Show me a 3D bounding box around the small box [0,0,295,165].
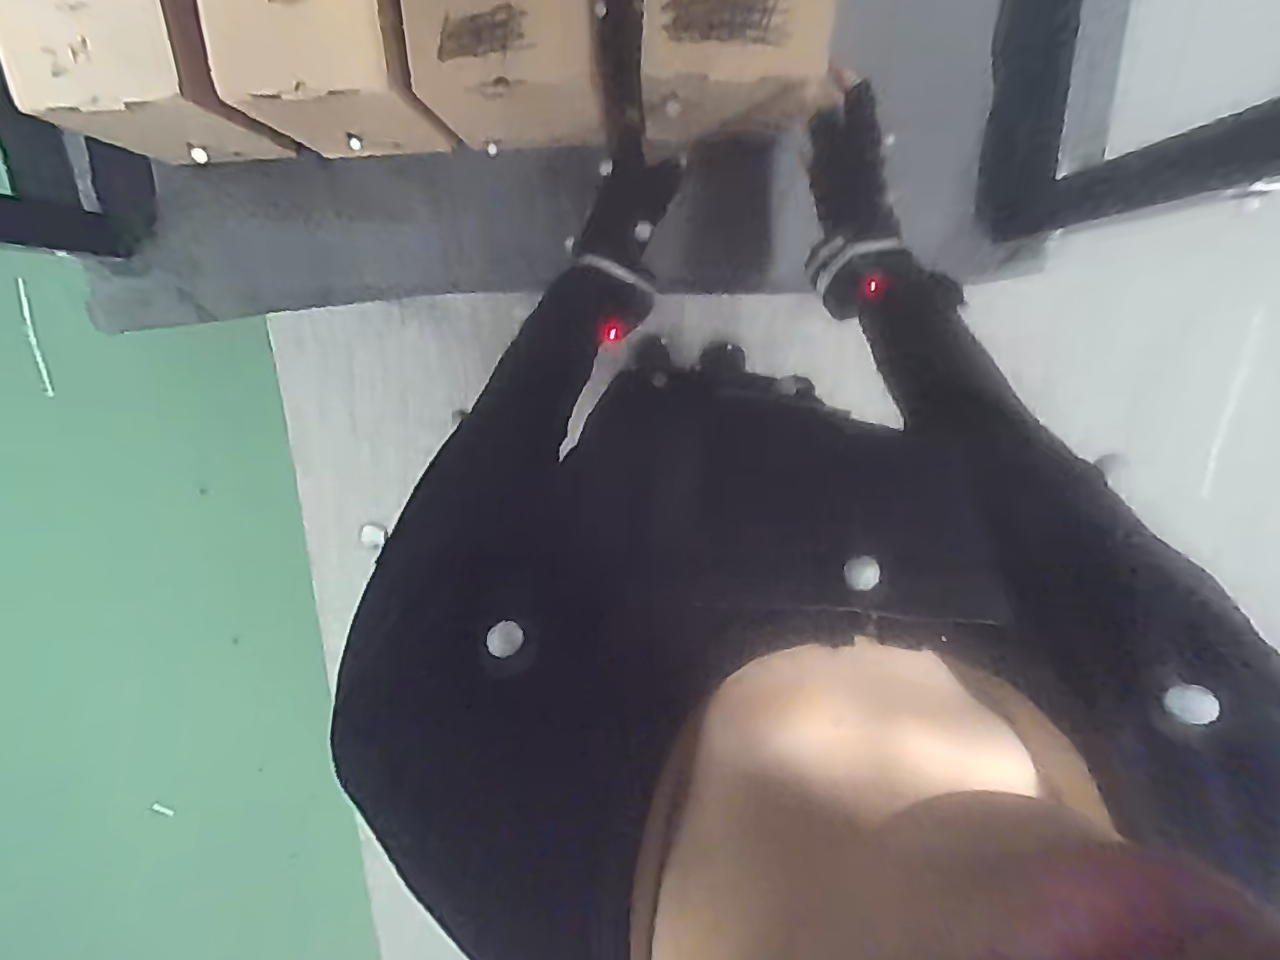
[{"bbox_3d":[-0.500,-0.452,0.560,0.168,0.176,0.179,-2,105,3],"label":"small box"}]
